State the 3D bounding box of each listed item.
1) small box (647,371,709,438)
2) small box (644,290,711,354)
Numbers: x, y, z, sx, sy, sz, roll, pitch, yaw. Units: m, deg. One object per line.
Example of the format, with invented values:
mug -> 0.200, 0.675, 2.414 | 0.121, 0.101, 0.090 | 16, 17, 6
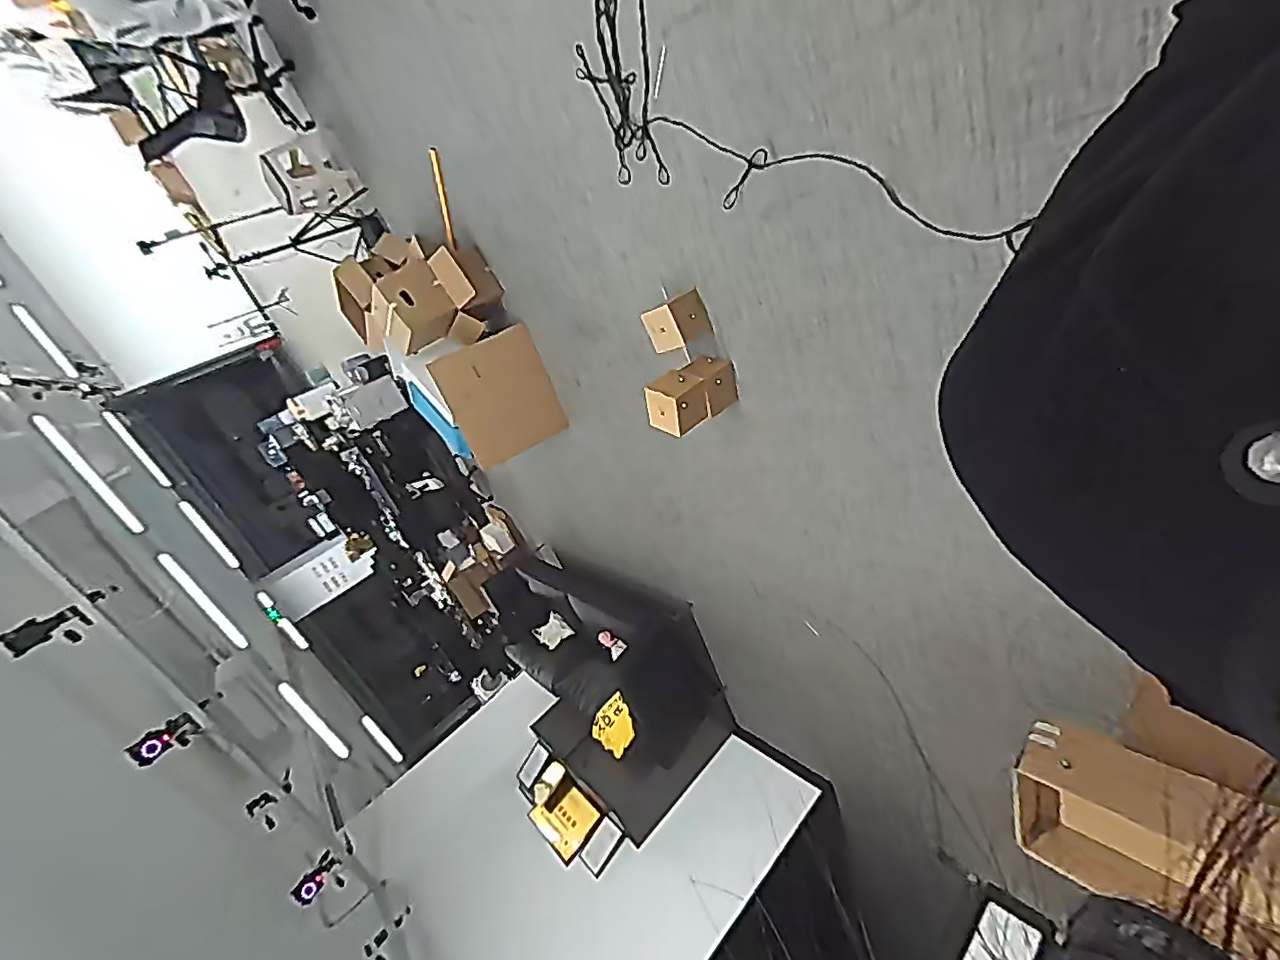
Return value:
small box -> 0.154, -0.298, 2.100 | 0.168, 0.176, 0.179 | 28, 142, 39
small box -> 0.153, -0.611, 2.089 | 0.179, 0.176, 0.168 | 2, 123, 56
